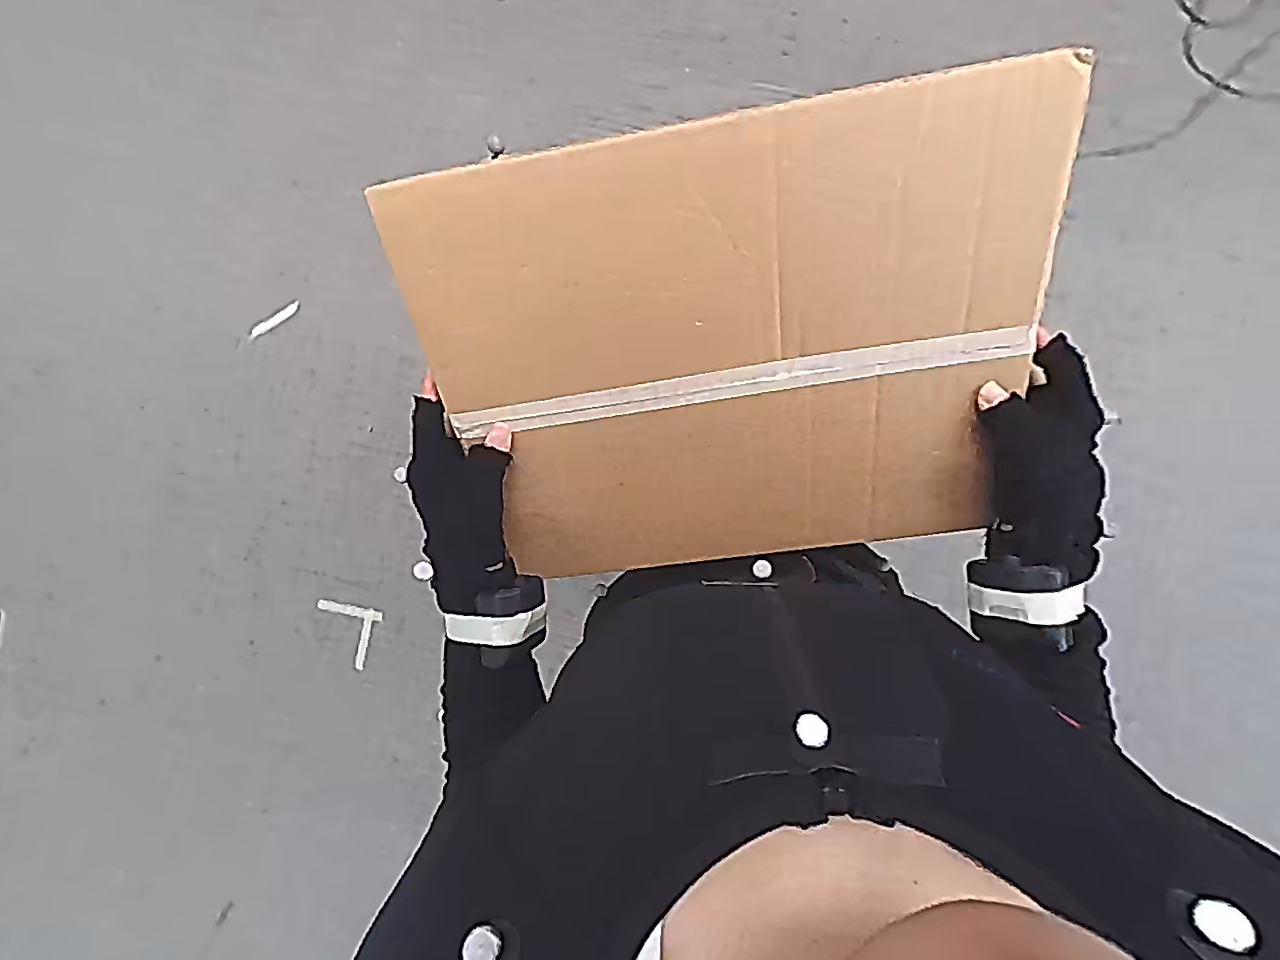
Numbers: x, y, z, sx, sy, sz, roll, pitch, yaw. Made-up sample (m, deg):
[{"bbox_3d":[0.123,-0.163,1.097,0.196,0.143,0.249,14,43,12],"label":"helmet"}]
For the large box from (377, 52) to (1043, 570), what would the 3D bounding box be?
[{"bbox_3d":[0.055,-0.152,0.518,0.408,0.320,0.320,-8,122,6],"label":"large box"}]
